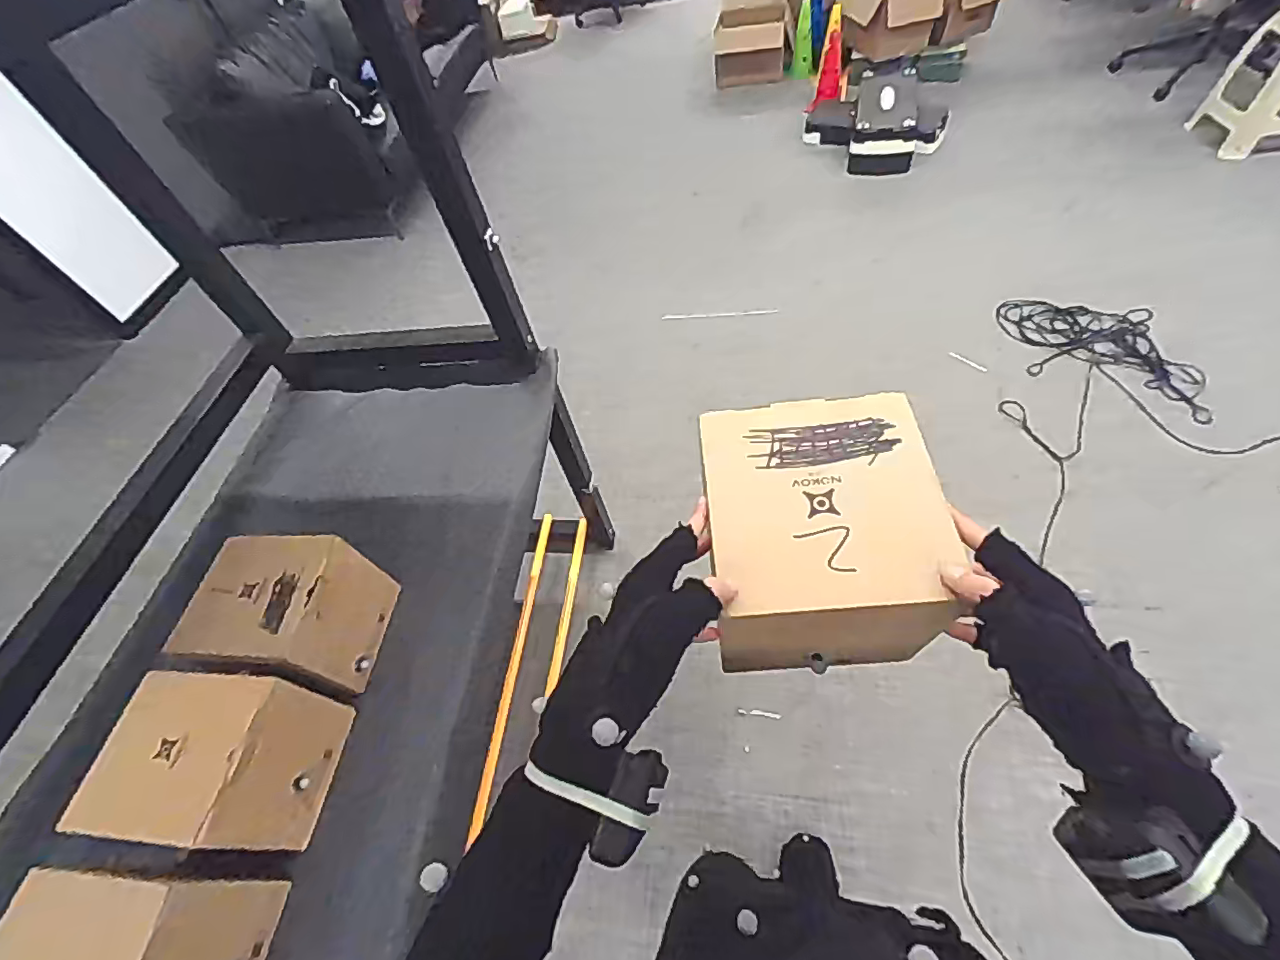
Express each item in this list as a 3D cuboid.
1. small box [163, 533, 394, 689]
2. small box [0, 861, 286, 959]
[{"bbox_3d":[-0.482,0.186,0.756,0.179,0.176,0.168,-2,55,11],"label":"small box"},{"bbox_3d":[-0.517,0.493,0.544,0.179,0.176,0.168,-2,55,10],"label":"small box"}]
